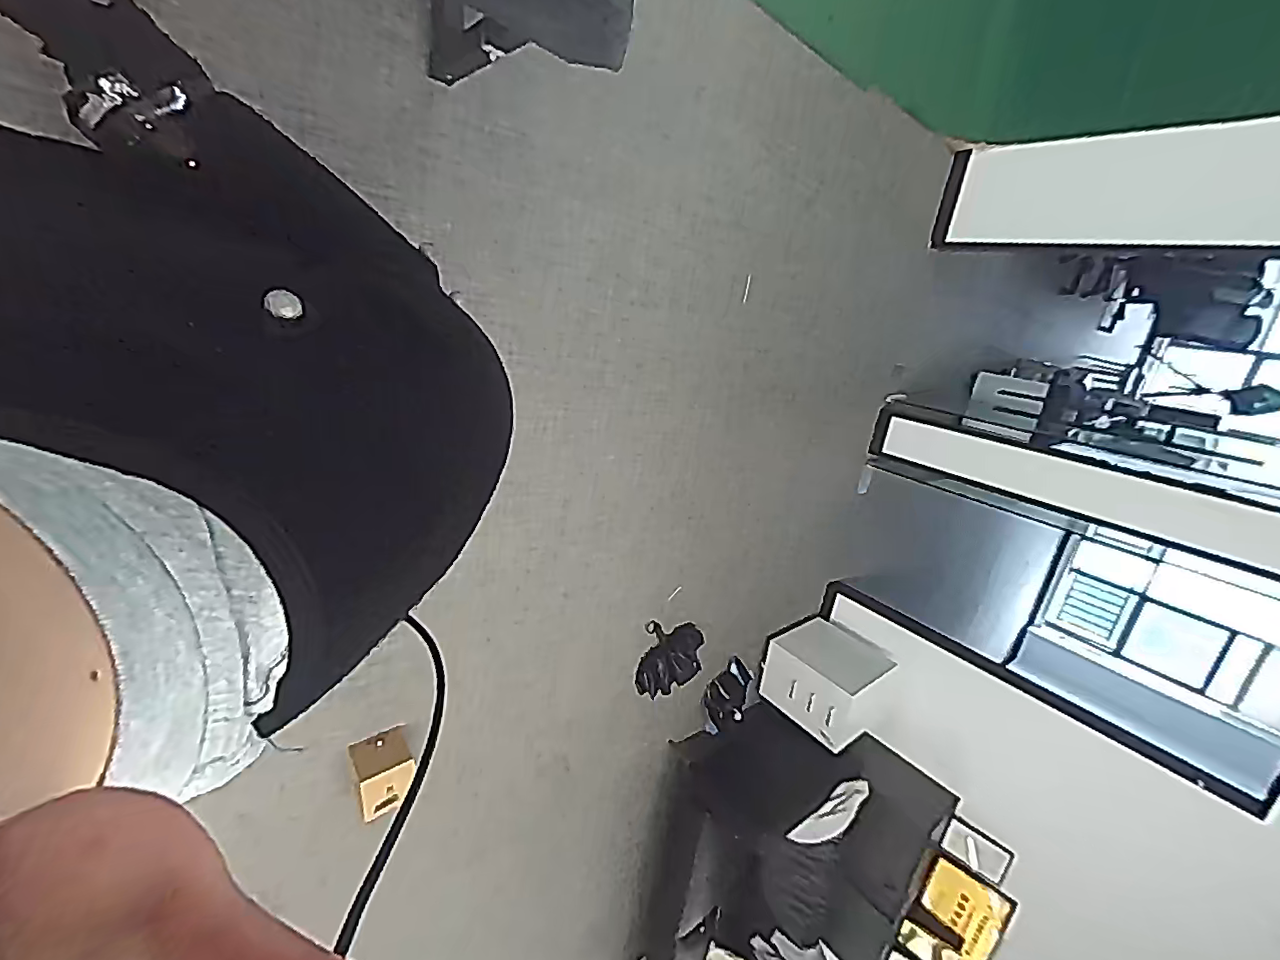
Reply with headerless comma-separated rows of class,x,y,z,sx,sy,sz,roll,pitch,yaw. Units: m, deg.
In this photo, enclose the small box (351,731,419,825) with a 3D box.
small box,-0.842,0.977,1.787,0.168,0.176,0.179,-12,115,-38
